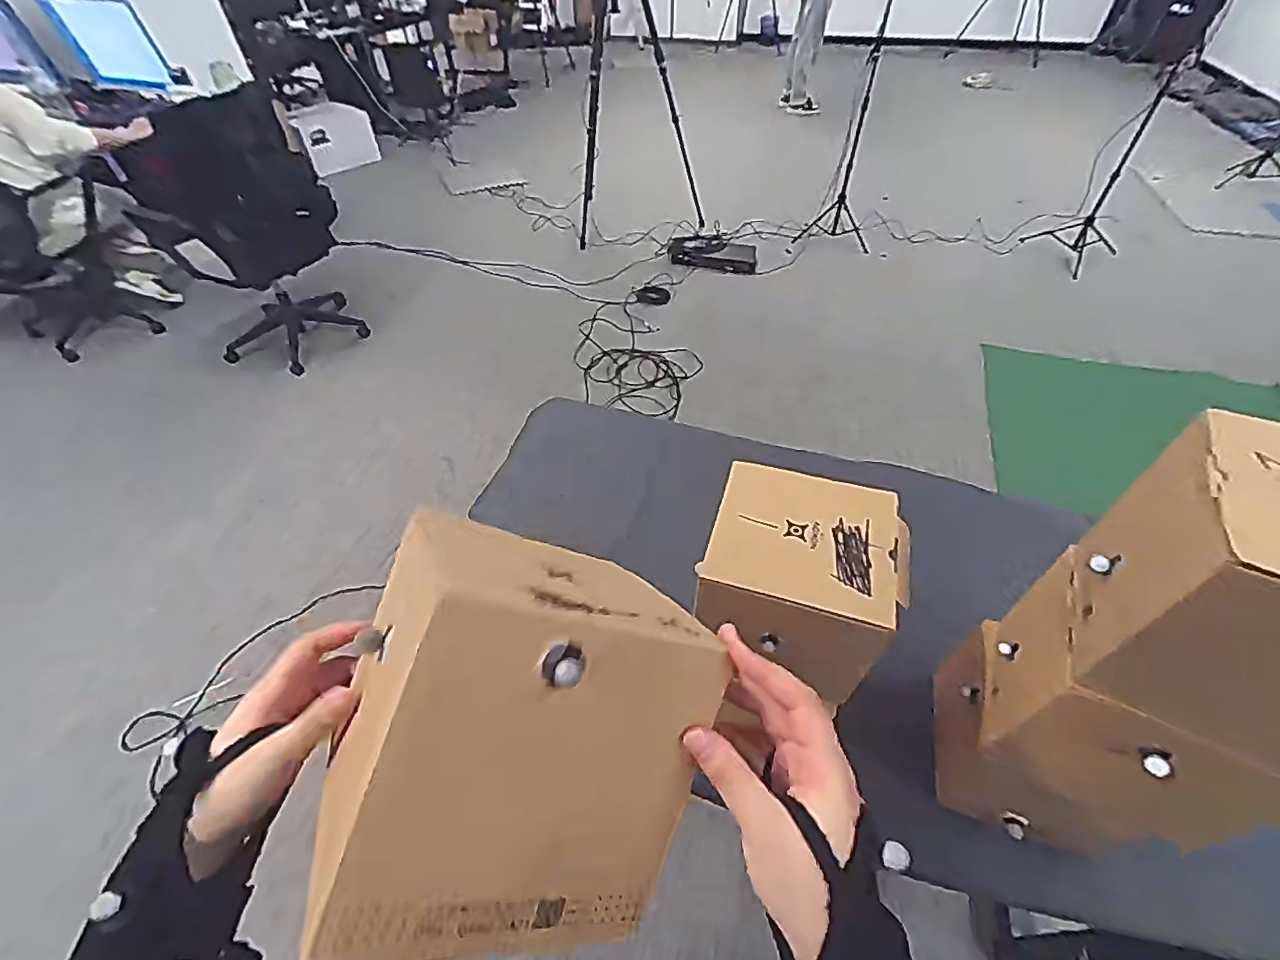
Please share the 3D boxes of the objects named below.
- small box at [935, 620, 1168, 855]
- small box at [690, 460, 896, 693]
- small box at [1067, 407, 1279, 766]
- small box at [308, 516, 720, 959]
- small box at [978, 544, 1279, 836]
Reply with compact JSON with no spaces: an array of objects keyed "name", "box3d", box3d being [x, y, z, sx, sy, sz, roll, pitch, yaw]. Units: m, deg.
[{"name":"small box","box3d":[0.461,0.298,0.630,0.168,0.176,0.179,12,49,14]},{"name":"small box","box3d":[0.159,0.108,0.589,0.179,0.176,0.168,13,48,14]},{"name":"small box","box3d":[0.453,0.082,0.384,0.179,0.176,0.168,22,51,23]},{"name":"small box","box3d":[-0.084,0.137,0.335,0.168,0.176,0.179,17,1,-27]},{"name":"small box","box3d":[0.453,0.196,0.503,0.179,0.176,0.168,21,50,22]}]
